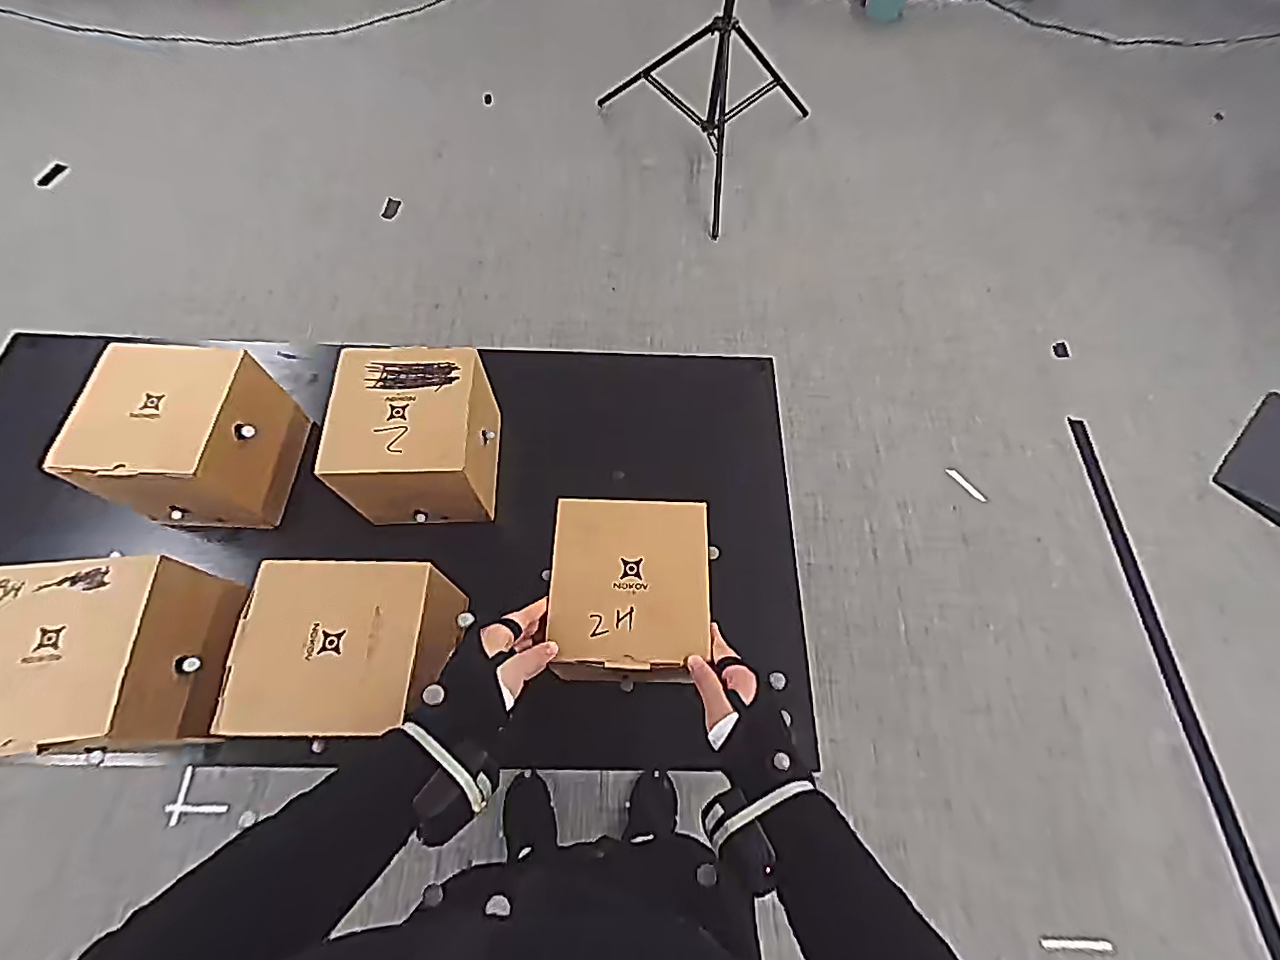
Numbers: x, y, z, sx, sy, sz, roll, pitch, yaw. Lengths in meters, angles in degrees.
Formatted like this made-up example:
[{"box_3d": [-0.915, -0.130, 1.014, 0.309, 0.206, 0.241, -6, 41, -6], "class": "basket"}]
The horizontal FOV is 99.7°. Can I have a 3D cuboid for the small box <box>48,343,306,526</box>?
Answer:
[{"box_3d": [-0.574, -0.054, 0.706, 0.168, 0.176, 0.179, 2, 65, -1], "class": "small box"}]

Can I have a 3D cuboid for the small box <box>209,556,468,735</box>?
[{"box_3d": [-0.309, 0.190, 0.601, 0.179, 0.176, 0.168, 2, 65, -2], "class": "small box"}]

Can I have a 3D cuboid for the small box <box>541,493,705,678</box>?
[{"box_3d": [-0.016, 0.131, 0.638, 0.168, 0.176, 0.179, 2, 65, 0], "class": "small box"}]

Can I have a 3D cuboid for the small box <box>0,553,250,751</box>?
[{"box_3d": [-0.566, 0.191, 0.589, 0.168, 0.176, 0.179, -4, 65, -4], "class": "small box"}]
